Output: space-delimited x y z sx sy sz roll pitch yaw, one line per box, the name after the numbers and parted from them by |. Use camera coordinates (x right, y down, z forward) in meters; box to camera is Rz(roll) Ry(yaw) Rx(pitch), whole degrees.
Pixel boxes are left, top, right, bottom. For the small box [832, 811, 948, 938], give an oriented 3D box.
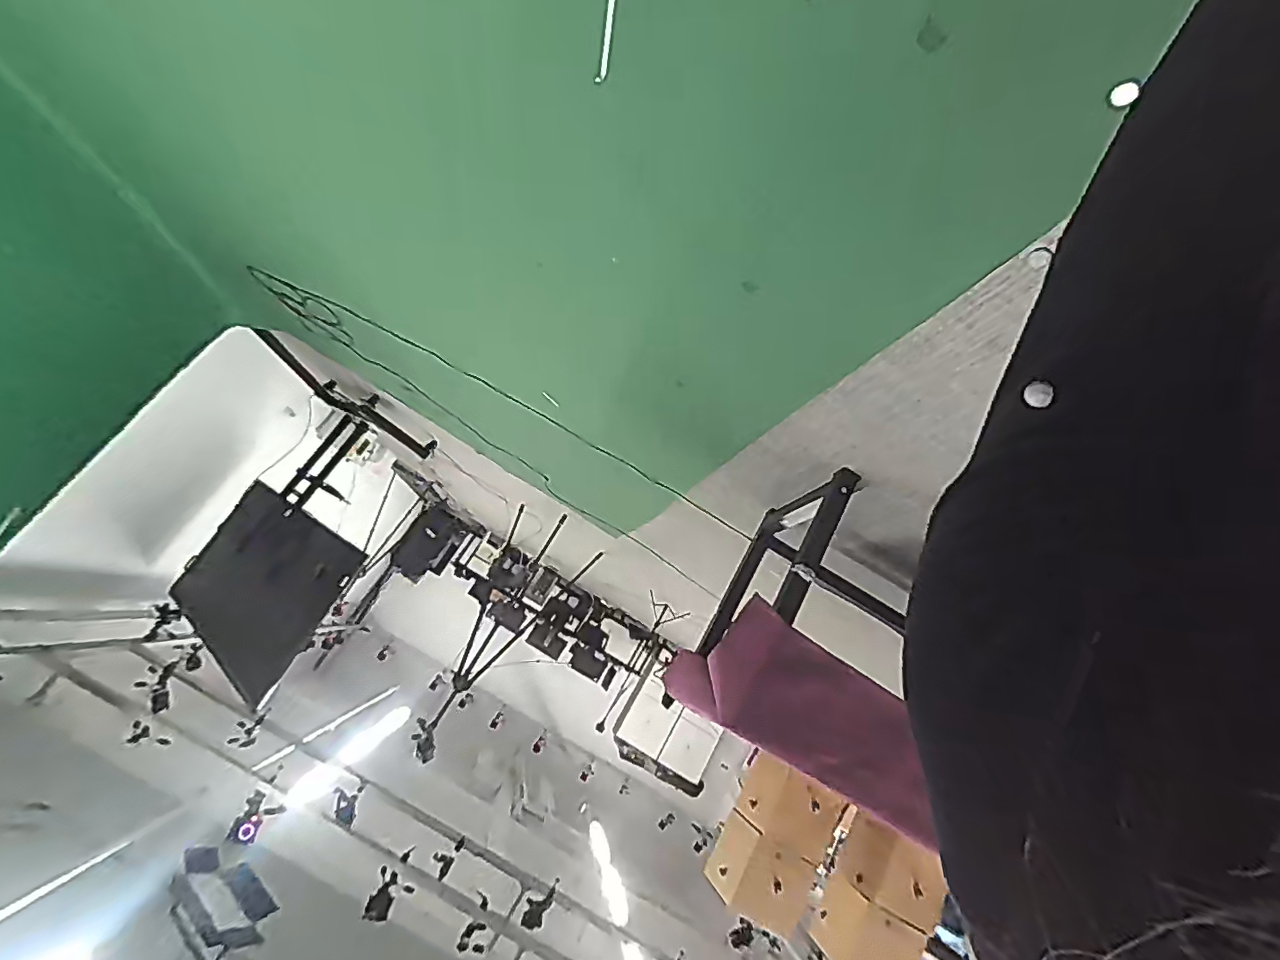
0.624 0.972 1.349 0.179 0.176 0.168 32 162 -4 | small box

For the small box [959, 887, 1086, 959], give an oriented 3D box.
0.938 1.159 1.325 0.179 0.176 0.168 34 162 -3 | small box

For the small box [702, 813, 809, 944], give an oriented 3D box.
0.278 0.939 1.294 0.168 0.176 0.179 33 162 -3 | small box

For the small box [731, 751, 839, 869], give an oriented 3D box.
0.362 0.806 1.345 0.168 0.176 0.179 33 162 -5 | small box
